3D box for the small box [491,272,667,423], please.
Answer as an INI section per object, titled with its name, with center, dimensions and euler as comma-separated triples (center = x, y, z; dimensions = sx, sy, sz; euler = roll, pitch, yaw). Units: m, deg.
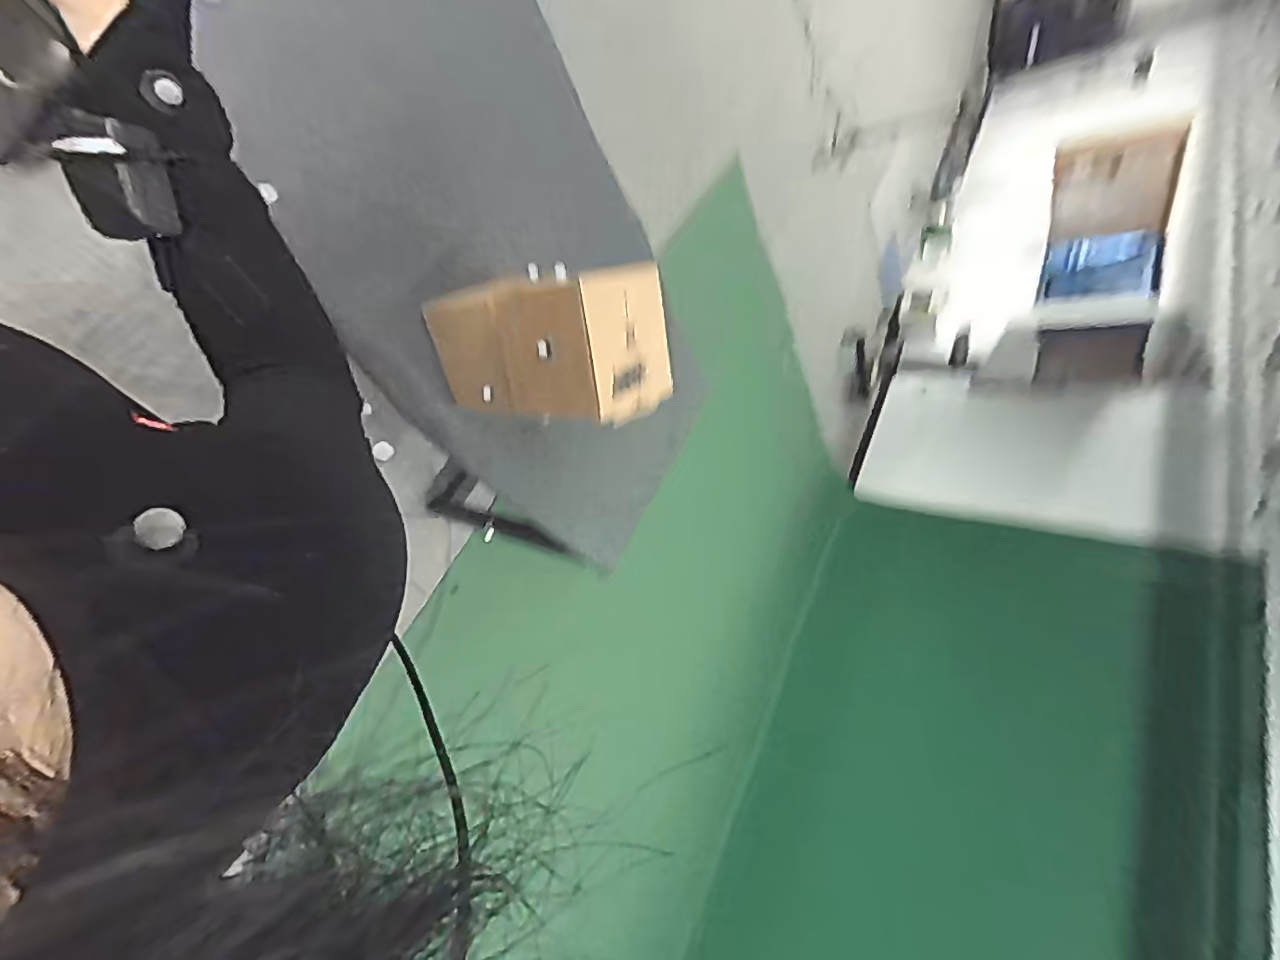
[small box]
center = -0.082, -0.189, 0.760
dimensions = 0.168, 0.176, 0.179
euler = -30, 119, -46
